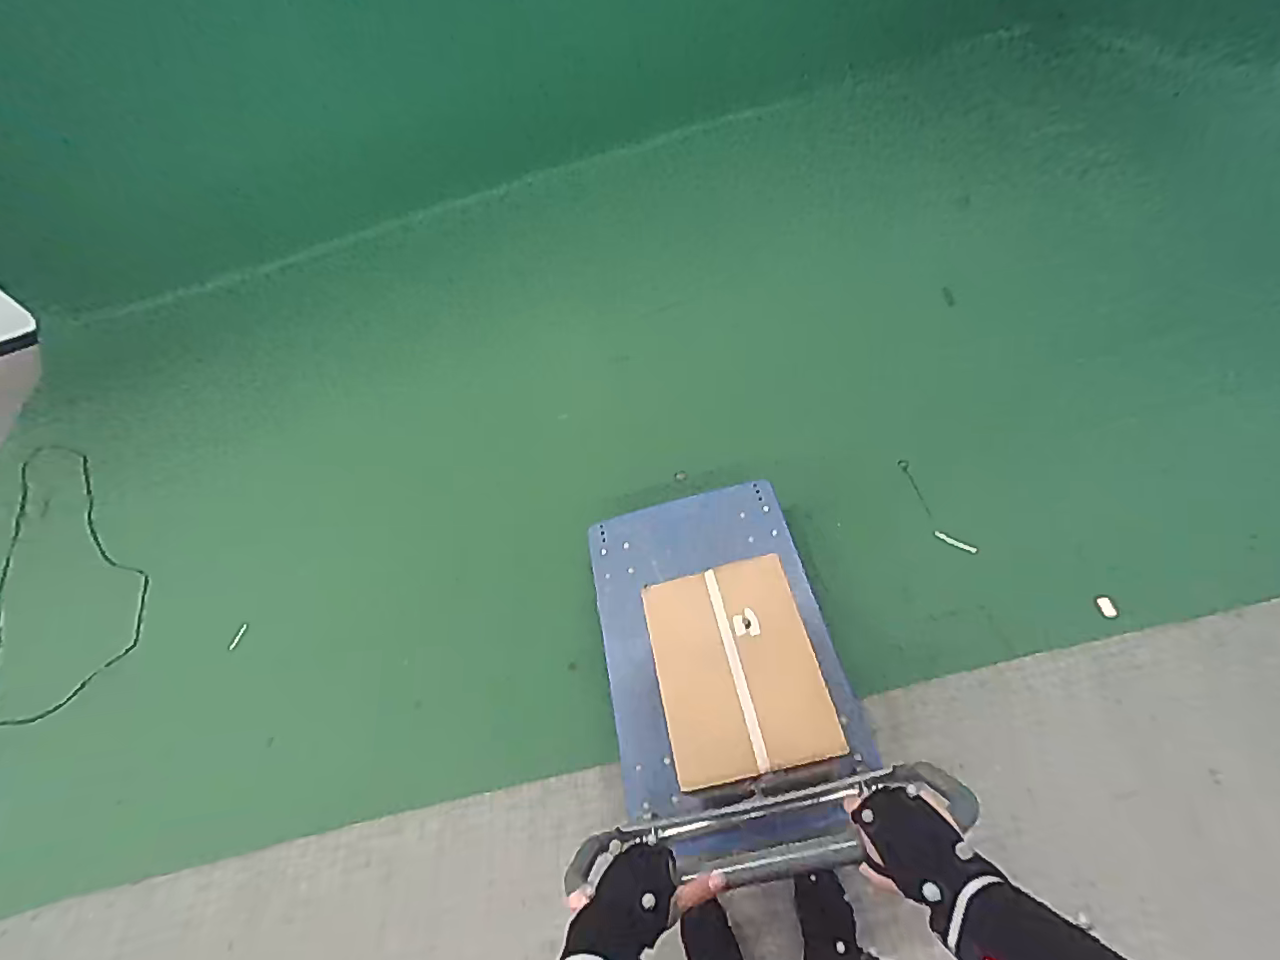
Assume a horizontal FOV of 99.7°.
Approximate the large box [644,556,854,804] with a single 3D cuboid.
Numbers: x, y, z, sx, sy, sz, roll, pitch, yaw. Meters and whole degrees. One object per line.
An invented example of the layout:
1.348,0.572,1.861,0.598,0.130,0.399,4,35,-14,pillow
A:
0.225,0.442,1.185,0.320,0.320,0.408,-15,55,3,large box
